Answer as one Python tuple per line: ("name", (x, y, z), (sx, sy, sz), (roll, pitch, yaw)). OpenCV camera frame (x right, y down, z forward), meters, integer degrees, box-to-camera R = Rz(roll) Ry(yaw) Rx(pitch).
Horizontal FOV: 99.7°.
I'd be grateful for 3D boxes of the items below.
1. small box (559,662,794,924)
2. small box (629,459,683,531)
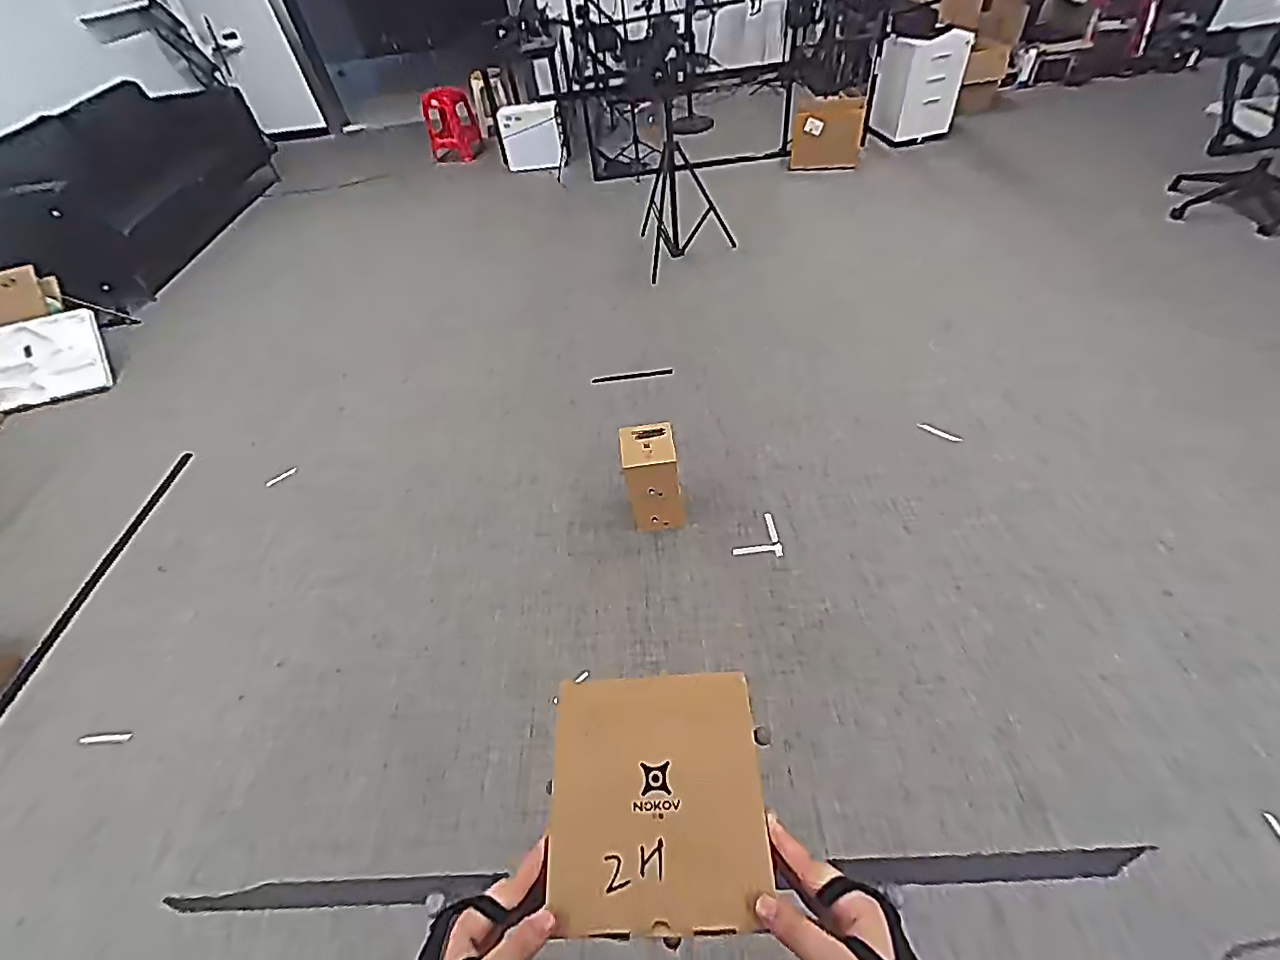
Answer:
("small box", (0.031, 0.280, 0.484), (0.168, 0.176, 0.179), (-6, 53, 4))
("small box", (0.054, 0.053, 1.854), (0.168, 0.176, 0.179), (-7, 48, 2))
